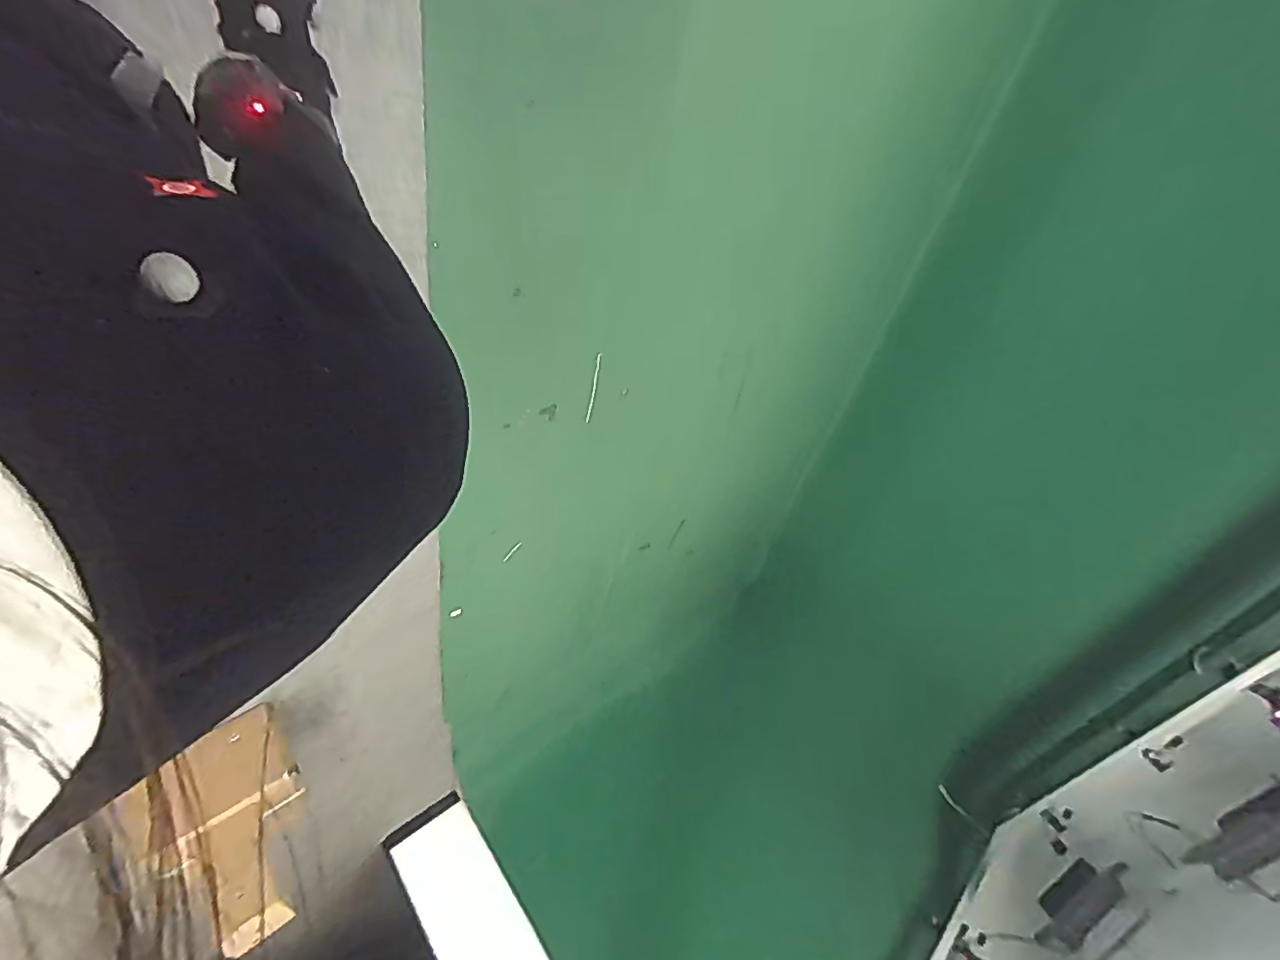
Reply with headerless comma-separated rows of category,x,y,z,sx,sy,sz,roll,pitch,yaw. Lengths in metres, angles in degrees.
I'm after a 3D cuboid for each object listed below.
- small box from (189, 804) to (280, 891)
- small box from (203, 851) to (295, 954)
small box,-1.296,1.183,1.728,0.179,0.176,0.168,-24,141,-33
small box,-1.192,1.281,1.649,0.168,0.176,0.179,-26,141,-35
